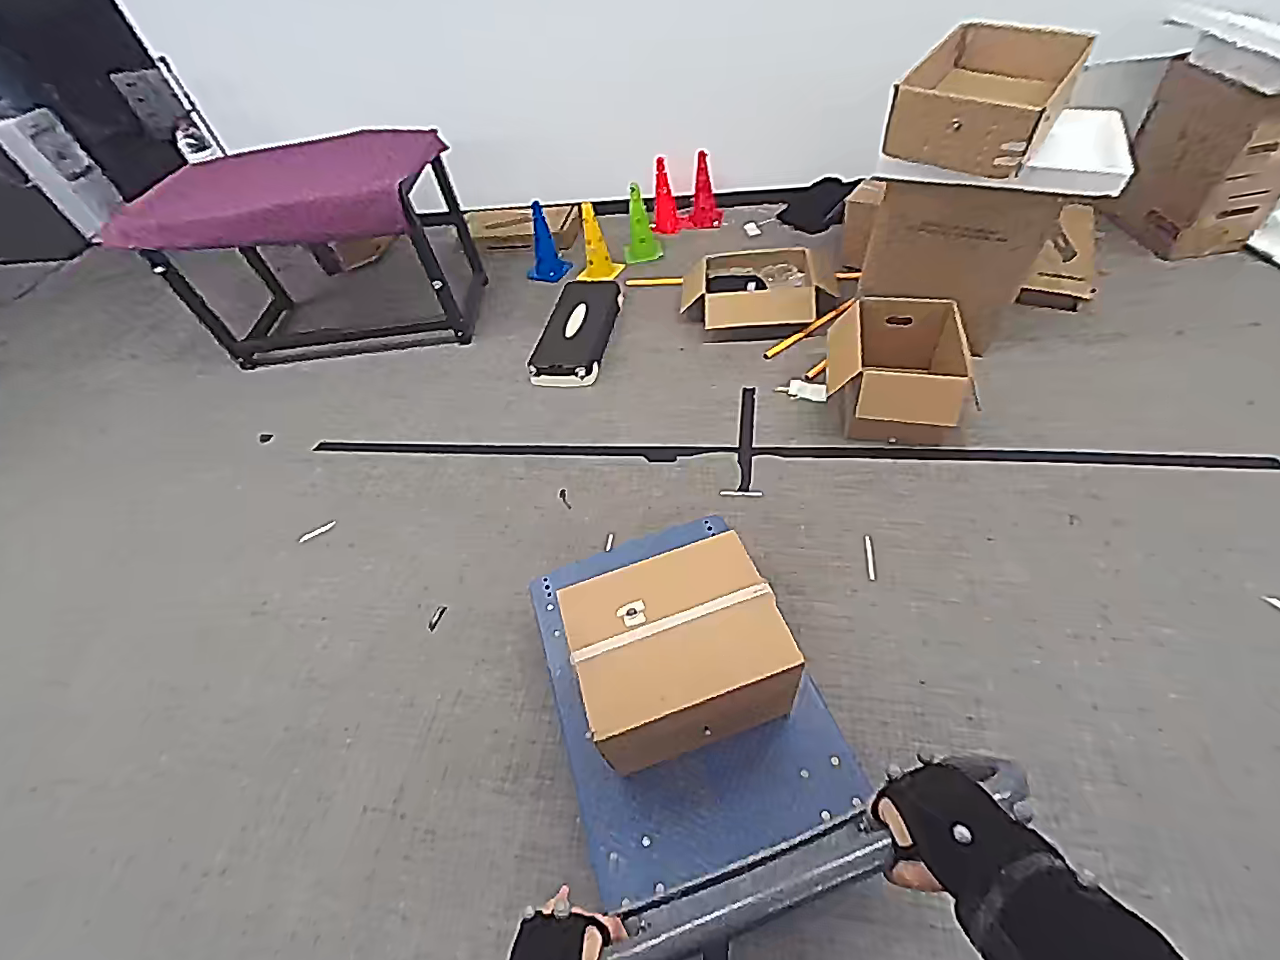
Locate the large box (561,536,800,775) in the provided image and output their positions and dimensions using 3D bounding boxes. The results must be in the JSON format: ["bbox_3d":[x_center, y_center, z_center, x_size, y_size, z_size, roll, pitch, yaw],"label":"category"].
[{"bbox_3d":[0.086,0.386,1.184,0.408,0.320,0.320,-20,50,-6],"label":"large box"}]
